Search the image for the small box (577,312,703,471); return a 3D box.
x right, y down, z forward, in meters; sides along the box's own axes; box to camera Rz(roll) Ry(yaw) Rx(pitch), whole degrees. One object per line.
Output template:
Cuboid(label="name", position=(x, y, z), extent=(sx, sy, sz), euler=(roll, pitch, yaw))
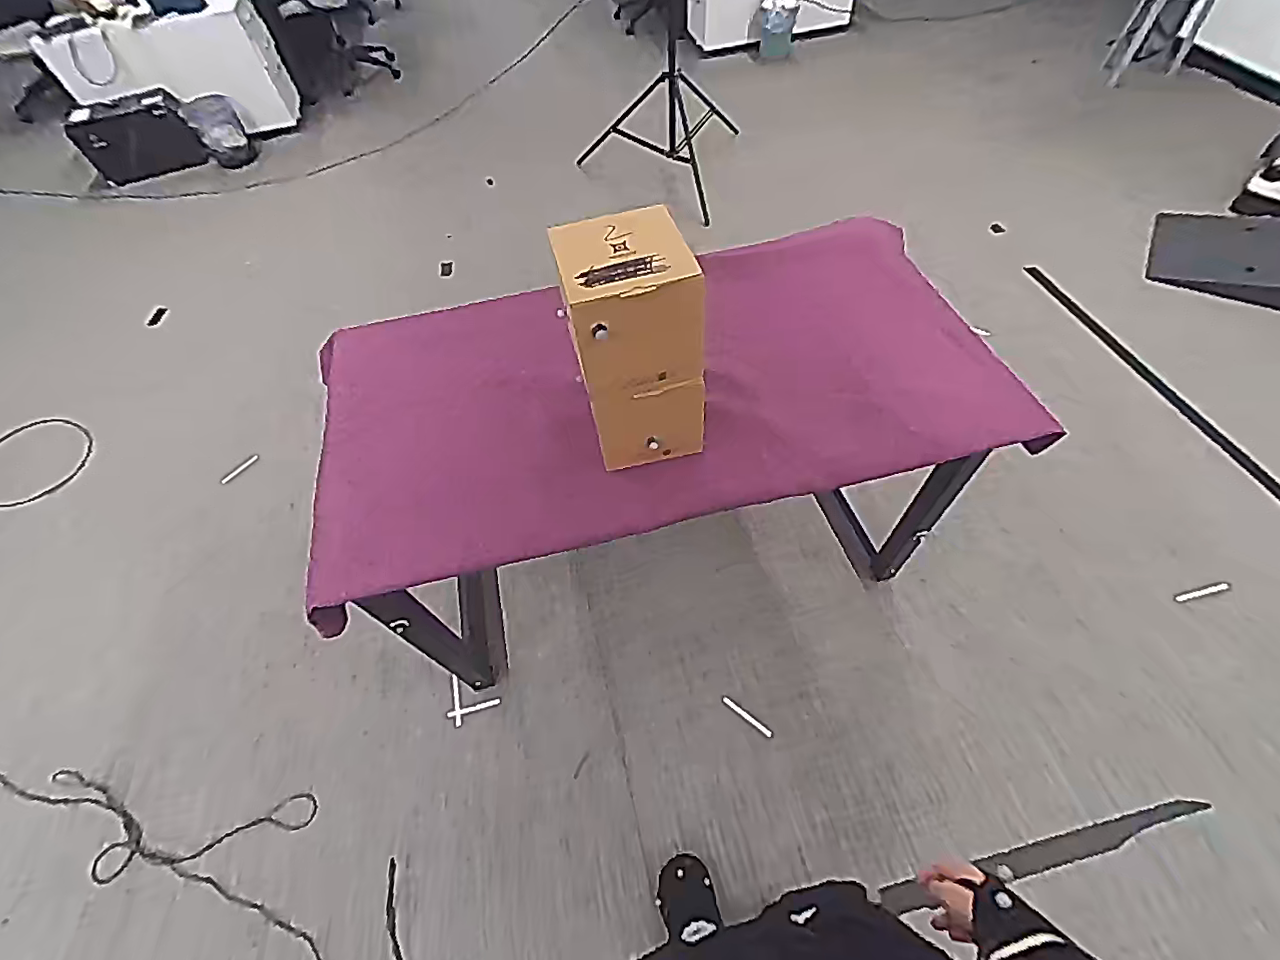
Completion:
Cuboid(label="small box", position=(0.000, -0.142, 0.884), extent=(0.168, 0.176, 0.179), euler=(-12, 55, -3))
